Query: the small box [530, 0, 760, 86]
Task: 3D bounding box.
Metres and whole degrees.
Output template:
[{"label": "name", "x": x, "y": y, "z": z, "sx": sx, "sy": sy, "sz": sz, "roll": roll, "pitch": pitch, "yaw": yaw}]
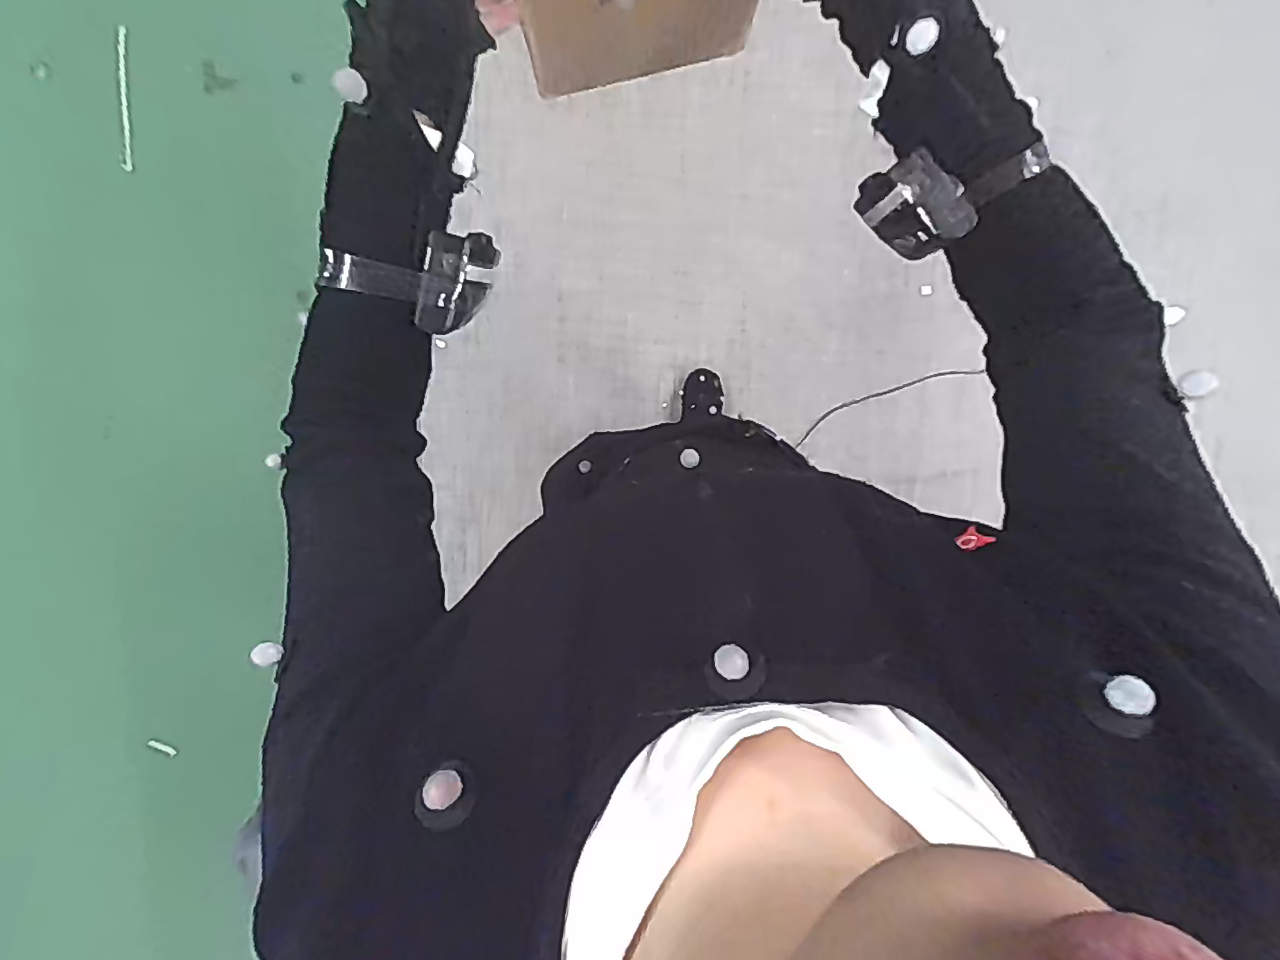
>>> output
[{"label": "small box", "x": -0.005, "y": -0.411, "z": 0.364, "sx": 0.179, "sy": 0.176, "sz": 0.168, "roll": -12, "pitch": 95, "yaw": 1}]
